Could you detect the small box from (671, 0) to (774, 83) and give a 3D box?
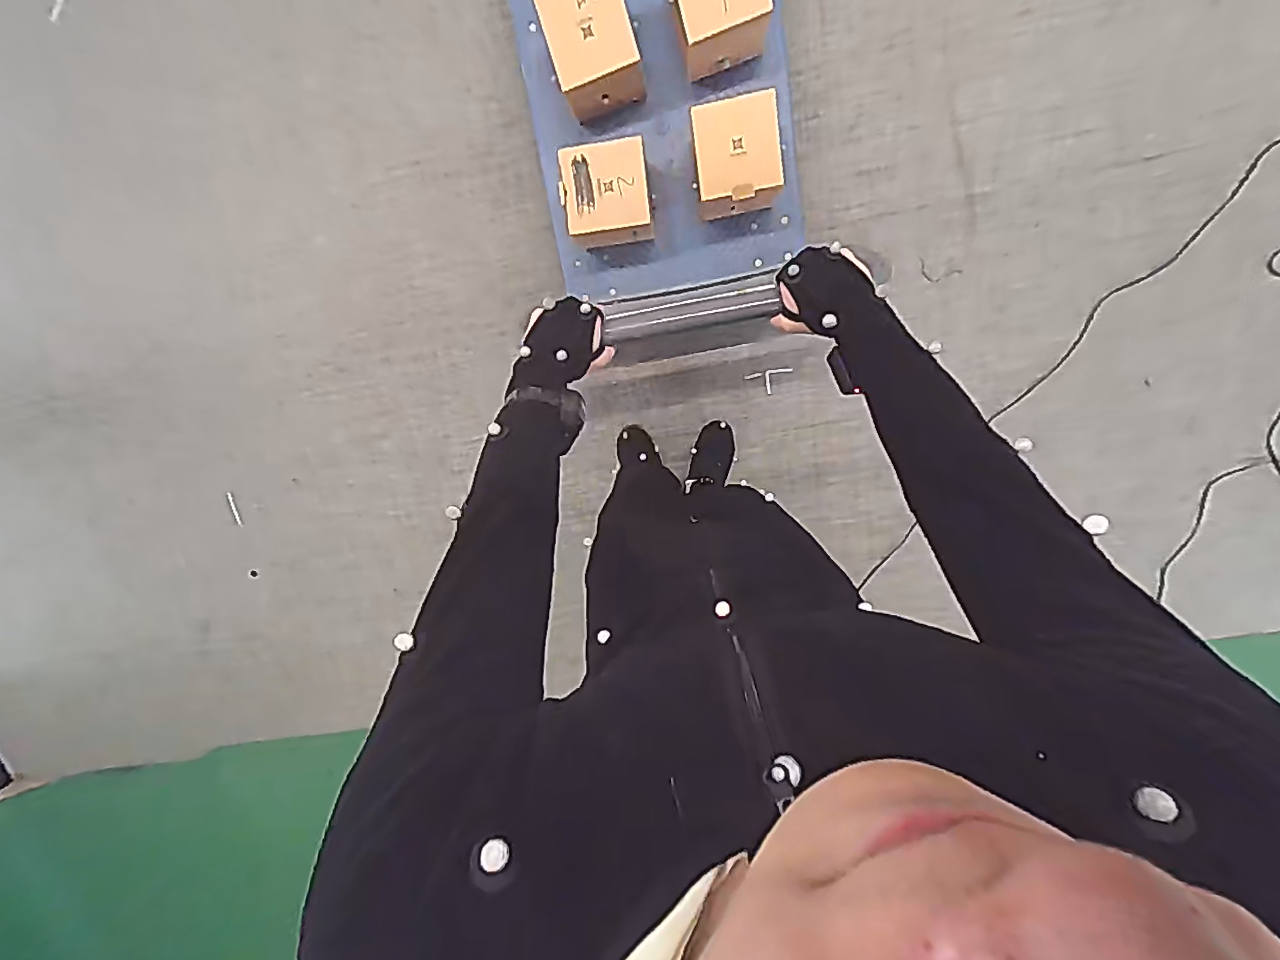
[{"bbox_3d":[0.156,-0.948,1.080,0.168,0.176,0.179,-15,103,10],"label":"small box"}]

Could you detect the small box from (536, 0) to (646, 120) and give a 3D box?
[{"bbox_3d":[-0.092,-0.884,1.121,0.168,0.176,0.179,-16,102,9],"label":"small box"}]

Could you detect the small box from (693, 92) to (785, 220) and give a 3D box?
[{"bbox_3d":[0.204,-0.674,1.146,0.168,0.176,0.179,-9,104,8],"label":"small box"}]
